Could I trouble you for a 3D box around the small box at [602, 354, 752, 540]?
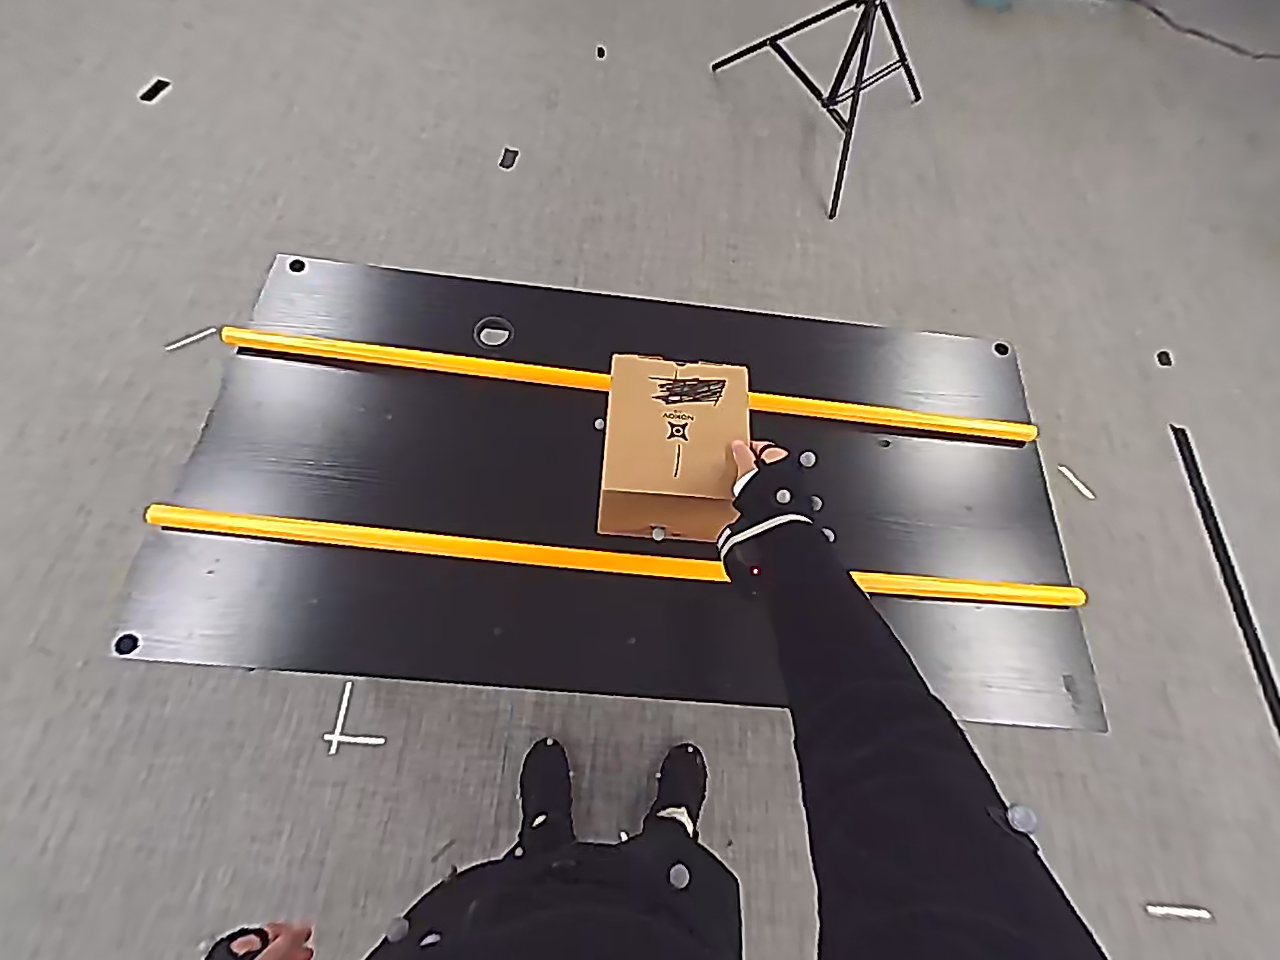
[{"bbox_3d":[0.040,-0.035,0.693,0.168,0.176,0.179,5,68,-3],"label":"small box"}]
